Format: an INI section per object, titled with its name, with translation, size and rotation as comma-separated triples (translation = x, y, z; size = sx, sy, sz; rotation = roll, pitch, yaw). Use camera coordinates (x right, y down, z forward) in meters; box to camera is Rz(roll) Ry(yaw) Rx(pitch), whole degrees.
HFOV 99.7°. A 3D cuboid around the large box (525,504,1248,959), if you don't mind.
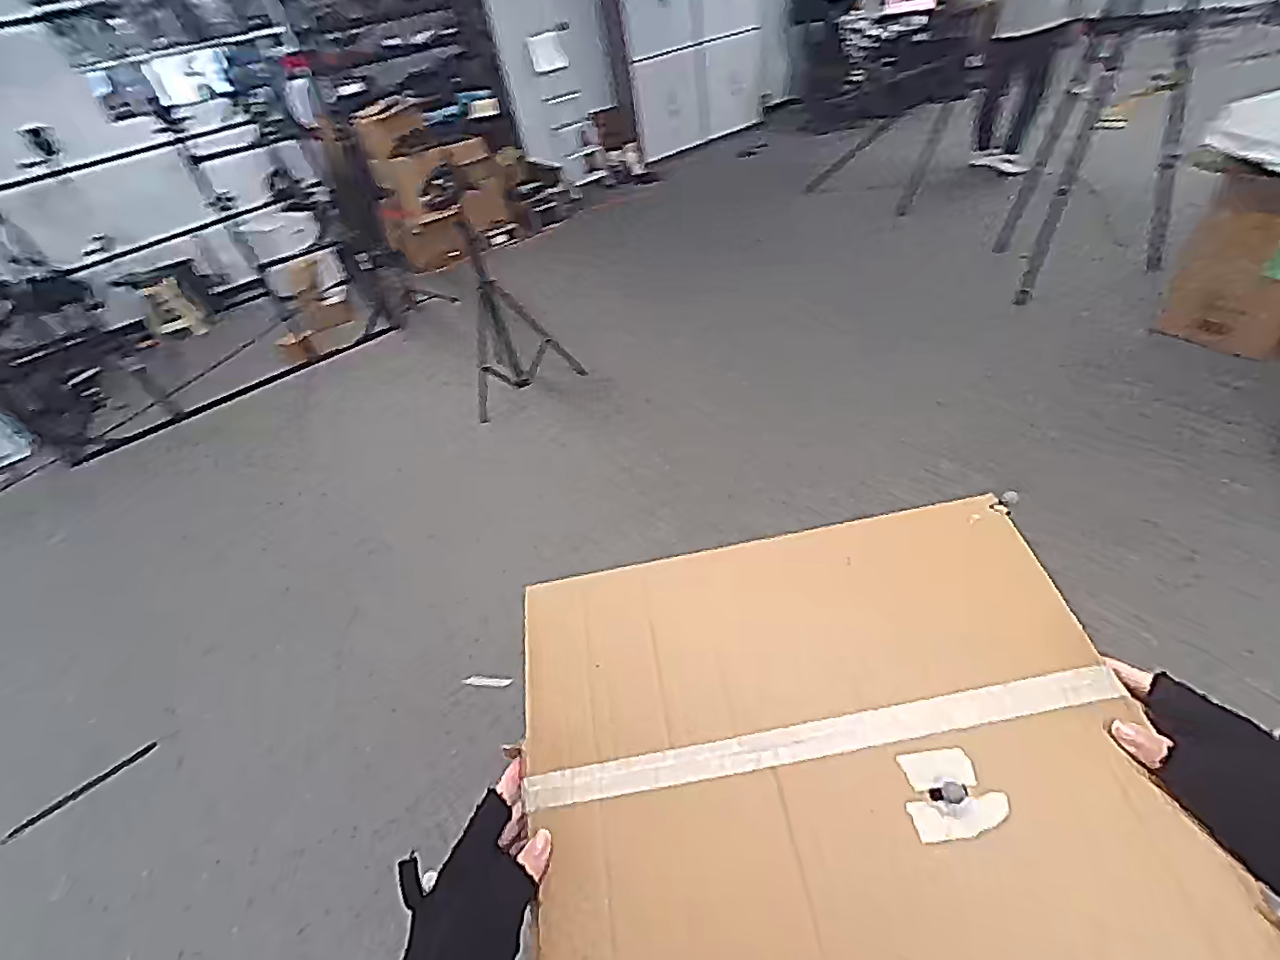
[large box]
translation = 0.136, 0.270, 0.503
size = 0.408, 0.320, 0.320
rotation = -12, 54, 0
